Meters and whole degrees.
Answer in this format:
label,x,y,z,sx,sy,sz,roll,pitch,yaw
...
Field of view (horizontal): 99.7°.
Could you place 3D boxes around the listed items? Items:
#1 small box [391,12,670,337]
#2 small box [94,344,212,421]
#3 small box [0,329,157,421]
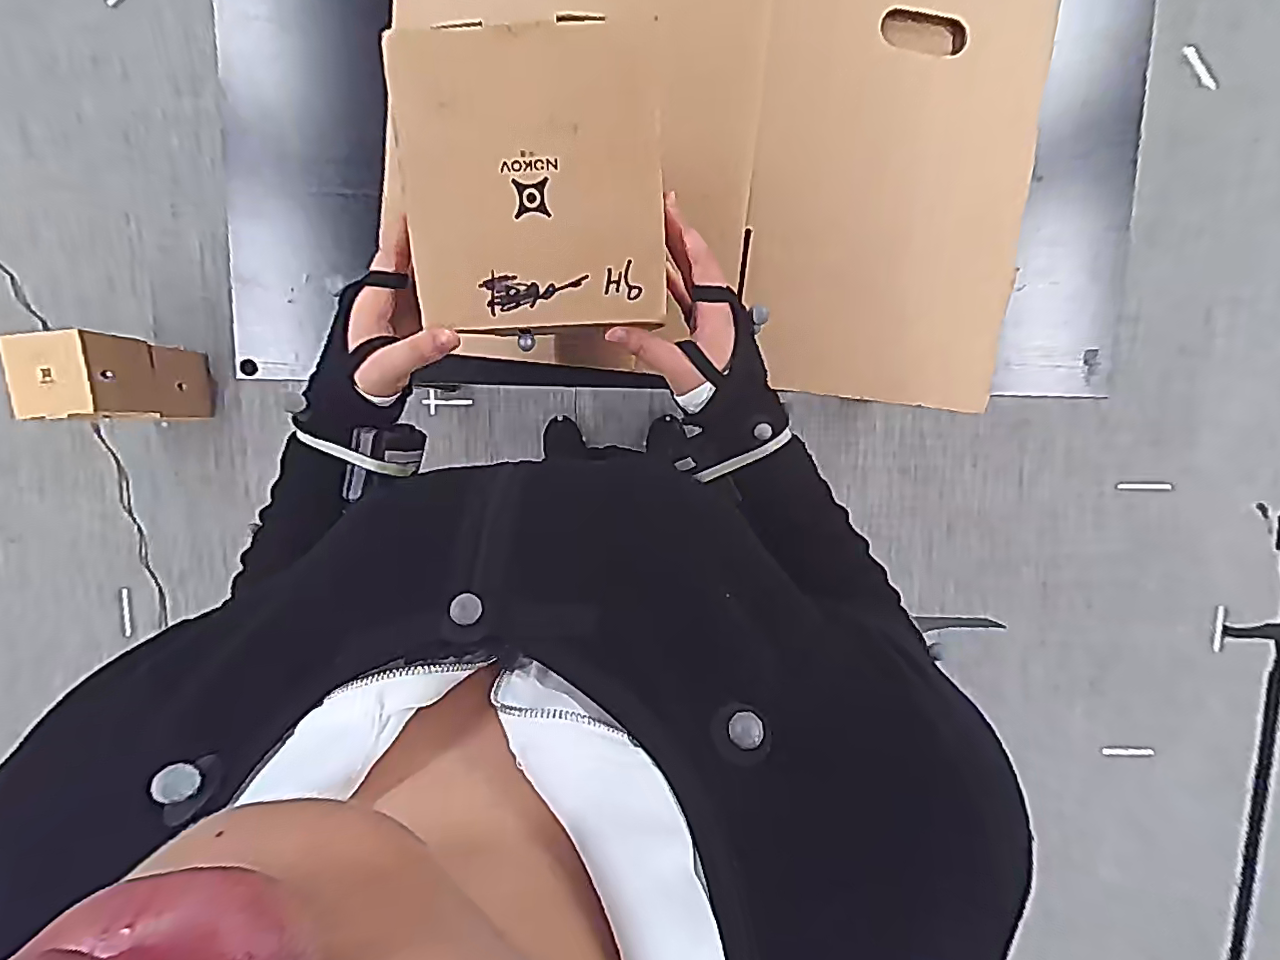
label,x,y,z,sx,sy,sz,roll,pitch,yaw
small box,-0.063,-0.206,0.415,0.168,0.176,0.179,-2,104,2
small box,-1.227,-0.238,1.358,0.168,0.176,0.179,-3,97,-1
small box,-1.226,-0.226,1.196,0.168,0.176,0.179,-6,96,-1
